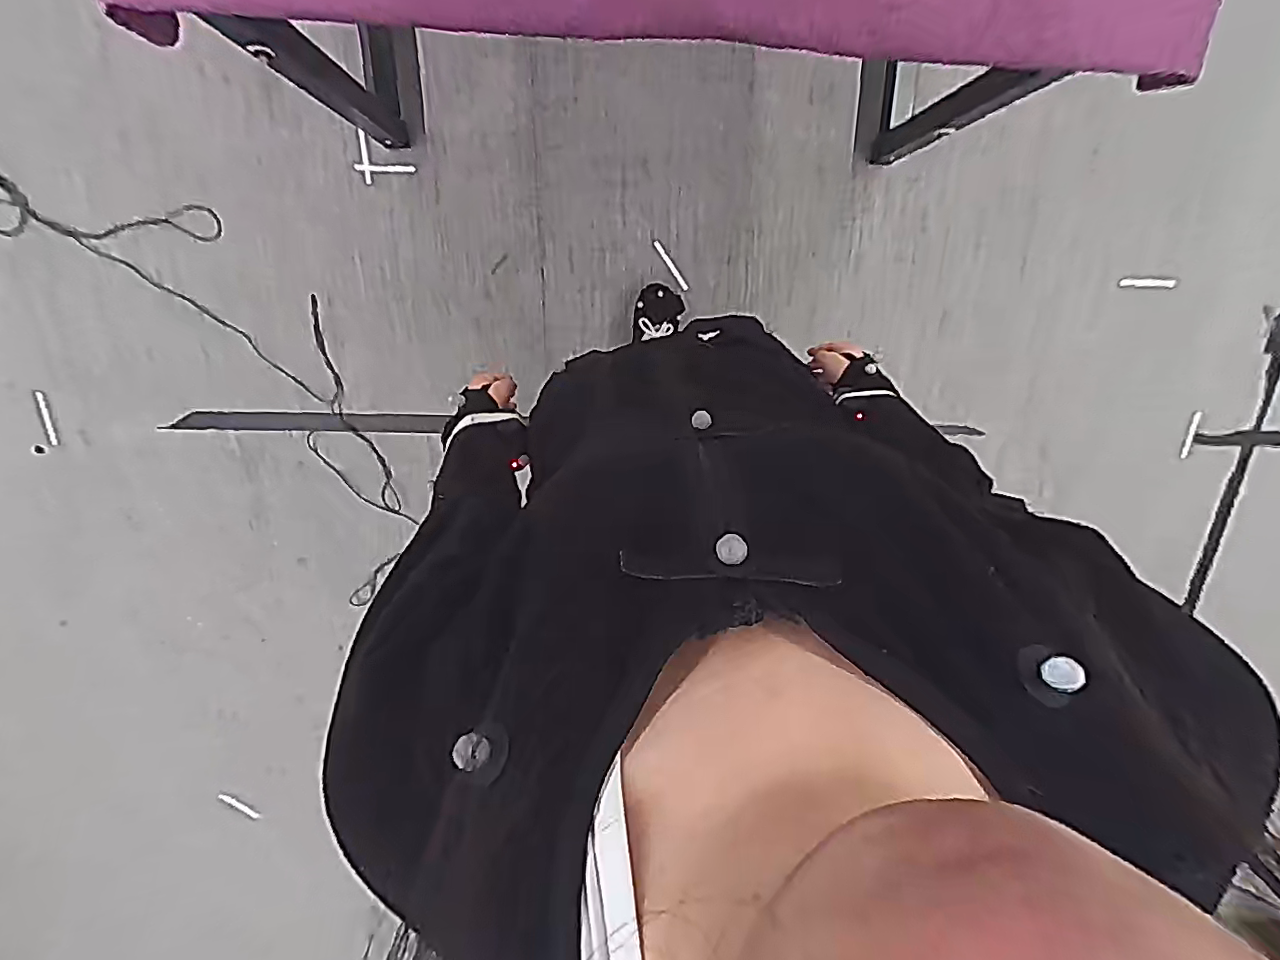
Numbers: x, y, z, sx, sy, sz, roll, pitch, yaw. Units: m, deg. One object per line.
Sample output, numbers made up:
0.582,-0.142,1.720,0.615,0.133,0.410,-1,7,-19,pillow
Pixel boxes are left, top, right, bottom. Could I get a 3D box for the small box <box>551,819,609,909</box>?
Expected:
-0.193,1.278,1.804,0.168,0.176,0.179,-9,108,-2,small box
